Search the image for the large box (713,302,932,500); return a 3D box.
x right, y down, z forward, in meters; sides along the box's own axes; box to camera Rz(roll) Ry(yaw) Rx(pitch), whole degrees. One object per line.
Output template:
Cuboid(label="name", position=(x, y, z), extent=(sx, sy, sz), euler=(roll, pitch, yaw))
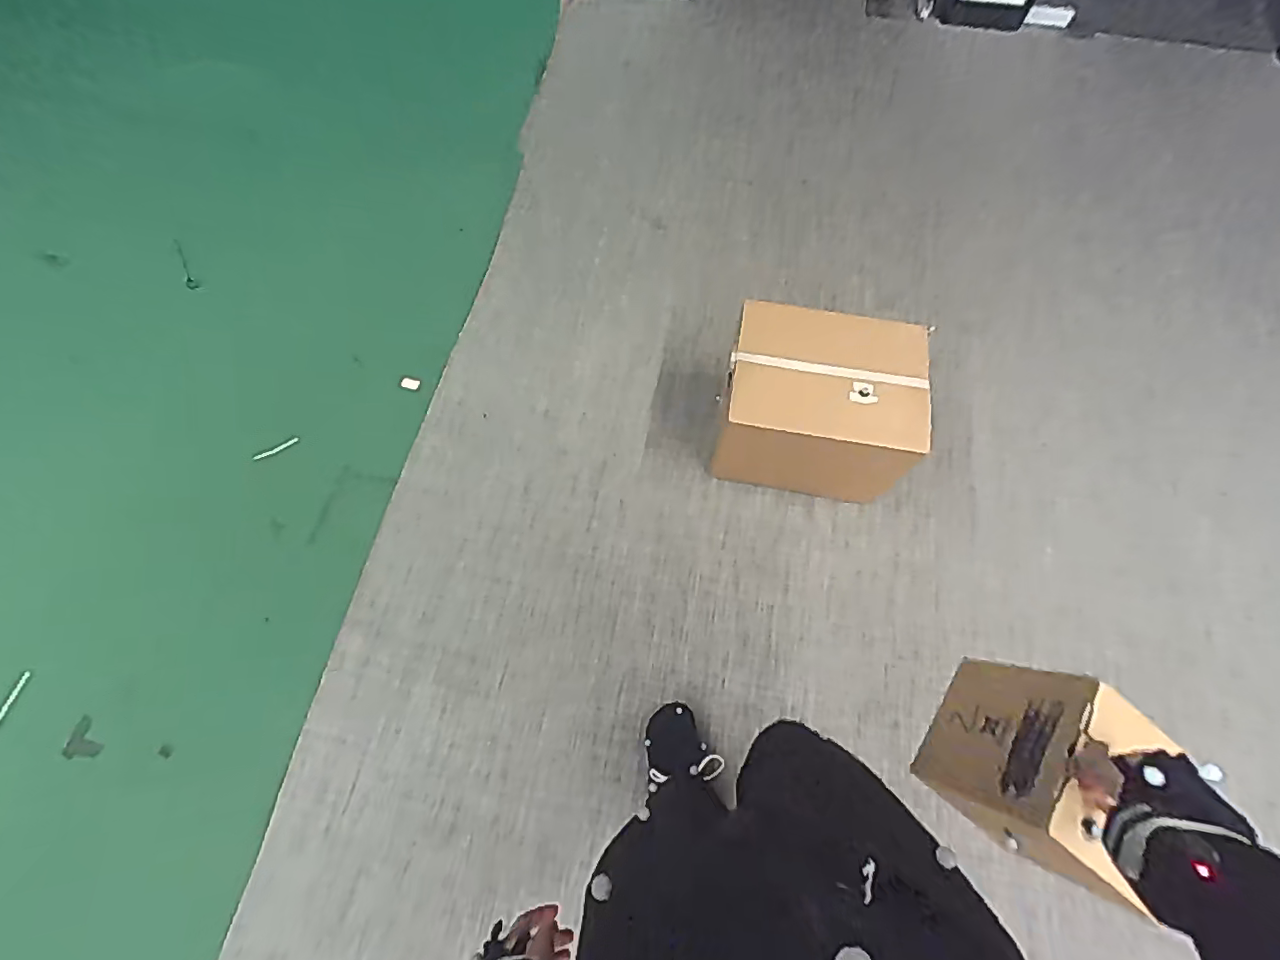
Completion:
Cuboid(label="large box", position=(0.402, -0.170, 1.268), extent=(0.408, 0.320, 0.320), euler=(10, 70, 3))
